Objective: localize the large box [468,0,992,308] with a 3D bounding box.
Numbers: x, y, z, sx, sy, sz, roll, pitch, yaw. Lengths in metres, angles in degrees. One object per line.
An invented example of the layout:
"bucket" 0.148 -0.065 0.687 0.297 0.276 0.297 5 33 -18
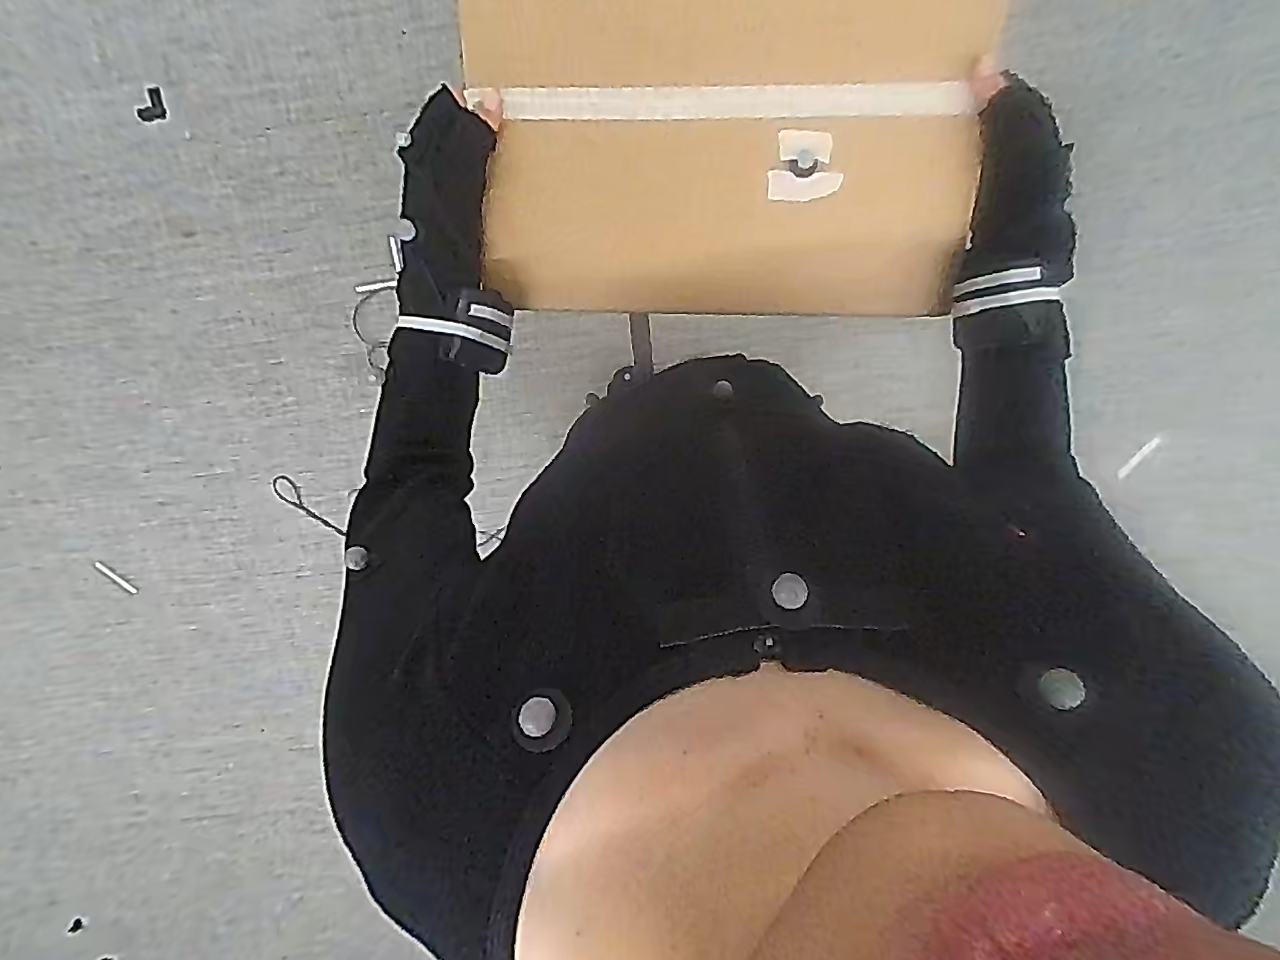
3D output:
"large box" 0.070 -0.349 0.574 0.408 0.320 0.320 1 109 2
